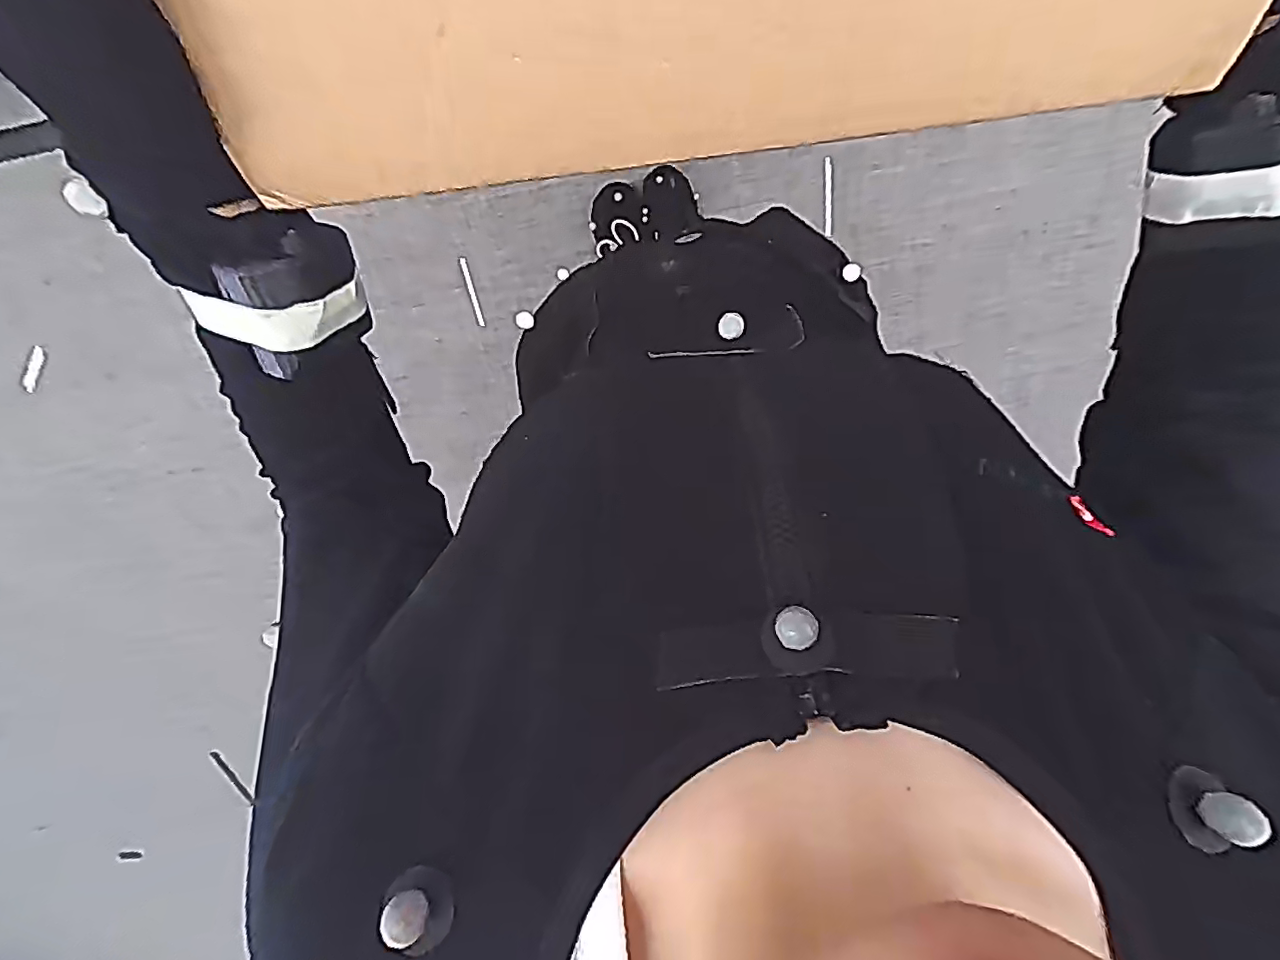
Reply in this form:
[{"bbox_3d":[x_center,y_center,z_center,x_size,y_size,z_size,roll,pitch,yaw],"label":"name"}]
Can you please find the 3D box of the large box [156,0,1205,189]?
[{"bbox_3d":[0.007,-0.364,0.211,0.408,0.320,0.320,-6,141,2],"label":"large box"}]
